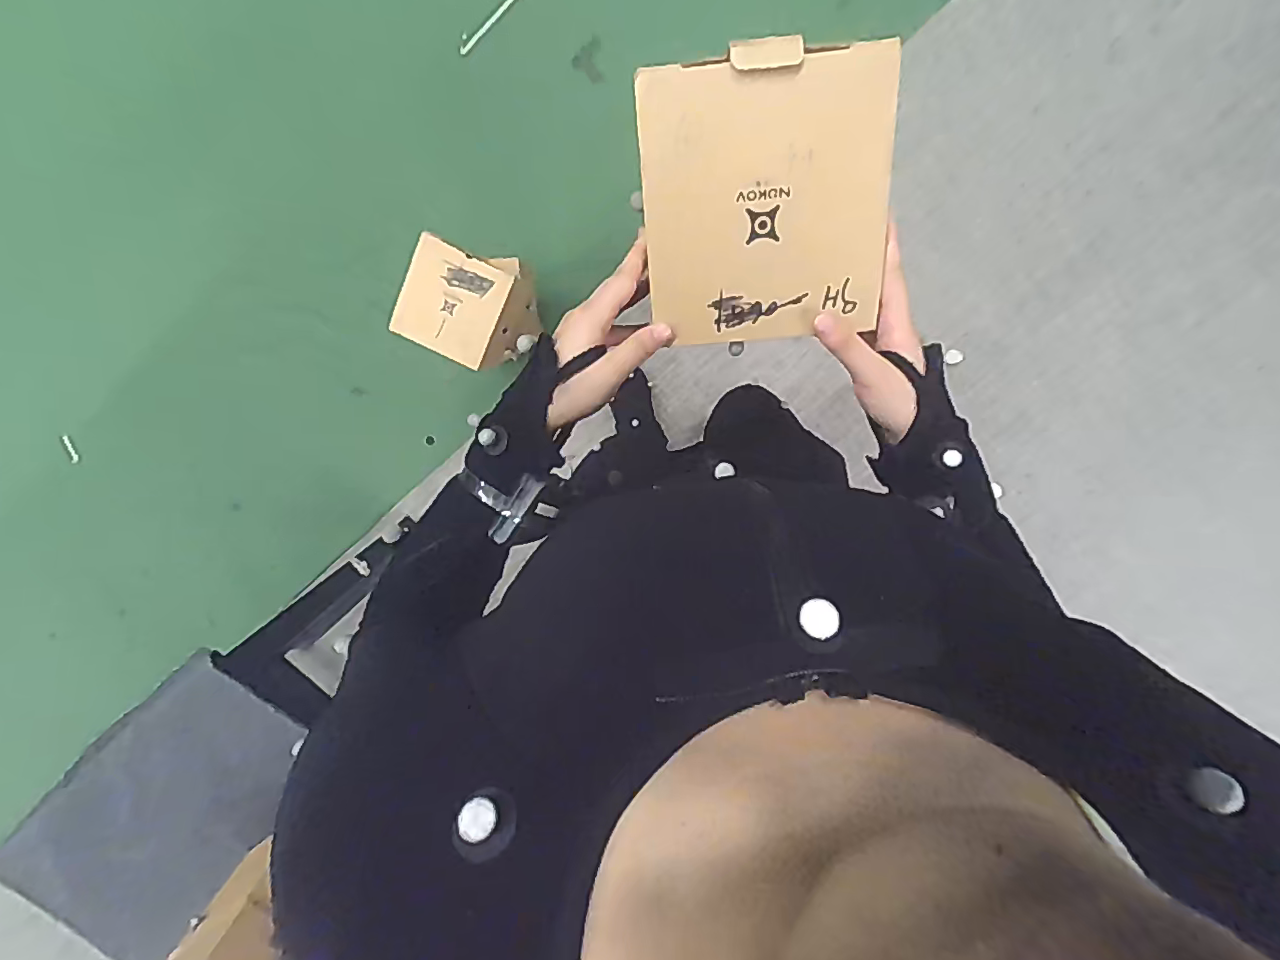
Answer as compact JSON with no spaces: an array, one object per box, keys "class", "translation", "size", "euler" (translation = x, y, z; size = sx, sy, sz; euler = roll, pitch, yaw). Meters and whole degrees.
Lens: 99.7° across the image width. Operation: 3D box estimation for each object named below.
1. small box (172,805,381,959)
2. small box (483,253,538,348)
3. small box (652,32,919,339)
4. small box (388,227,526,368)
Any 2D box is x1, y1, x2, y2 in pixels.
[{"class":"small box","translation":[-0.519,0.634,0.802],"size":[0.179,0.176,0.168],"euler":[-40,102,10]},{"class":"small box","translation":[-0.314,-0.367,1.135],"size":[0.168,0.176,0.179],"euler":[-4,104,-1]},{"class":"small box","translation":[0.096,-0.221,0.436],"size":[0.168,0.176,0.179],"euler":[-3,115,4]},{"class":"small box","translation":[-0.317,-0.321,0.977],"size":[0.168,0.176,0.179],"euler":[25,103,-8]}]
